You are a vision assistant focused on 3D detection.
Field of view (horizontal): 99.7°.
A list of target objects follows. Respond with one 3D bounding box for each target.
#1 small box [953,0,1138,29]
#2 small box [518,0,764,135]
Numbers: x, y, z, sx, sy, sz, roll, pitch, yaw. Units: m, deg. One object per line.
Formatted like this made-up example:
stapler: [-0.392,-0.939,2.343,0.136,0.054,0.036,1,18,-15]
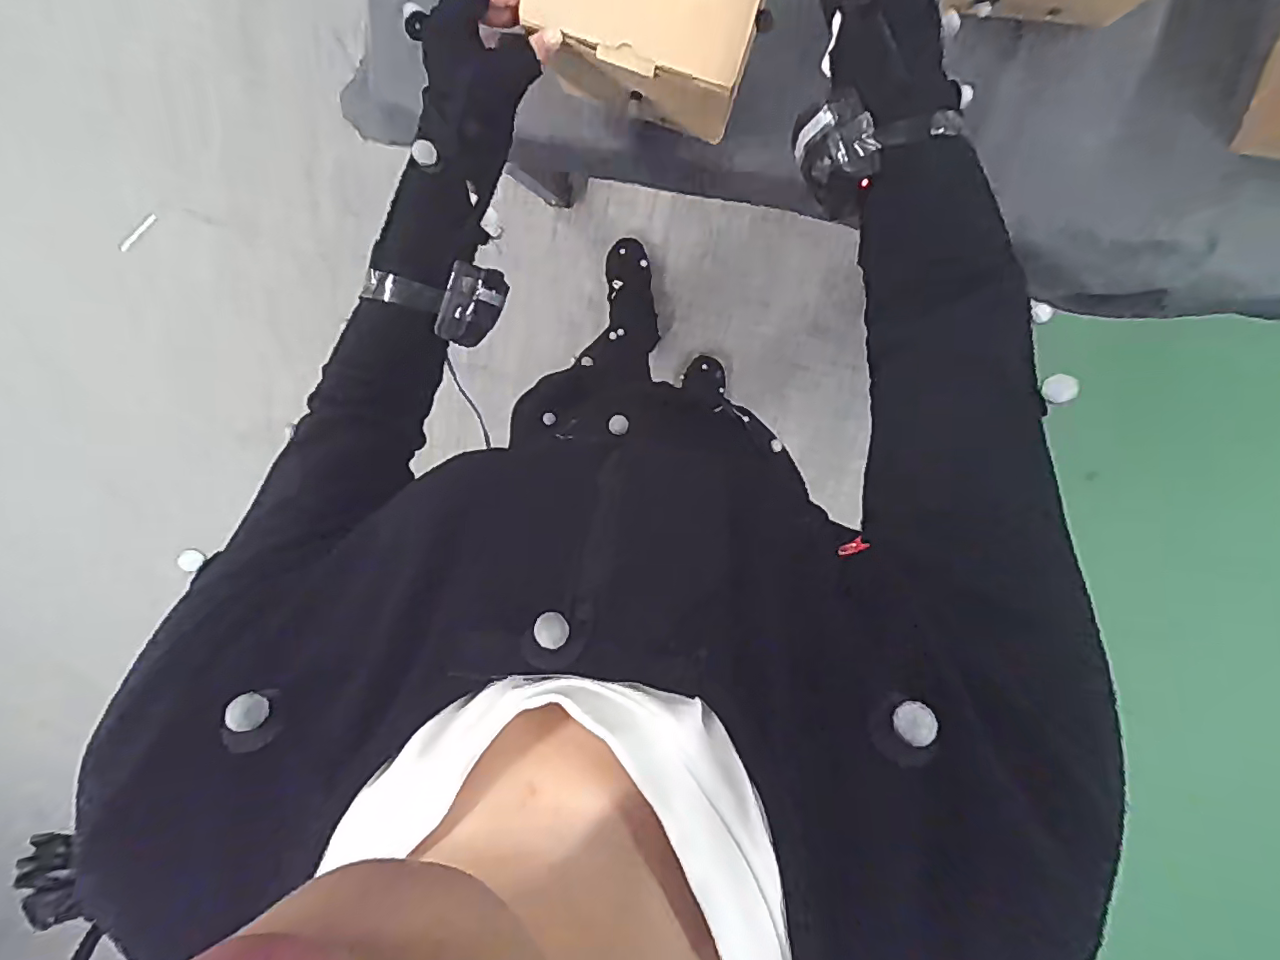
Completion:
small box: [0.377,-0.508,0.436,0.168,0.176,0.179,7,107,3]
small box: [0.019,-0.410,0.438,0.168,0.176,0.179,17,112,-1]
